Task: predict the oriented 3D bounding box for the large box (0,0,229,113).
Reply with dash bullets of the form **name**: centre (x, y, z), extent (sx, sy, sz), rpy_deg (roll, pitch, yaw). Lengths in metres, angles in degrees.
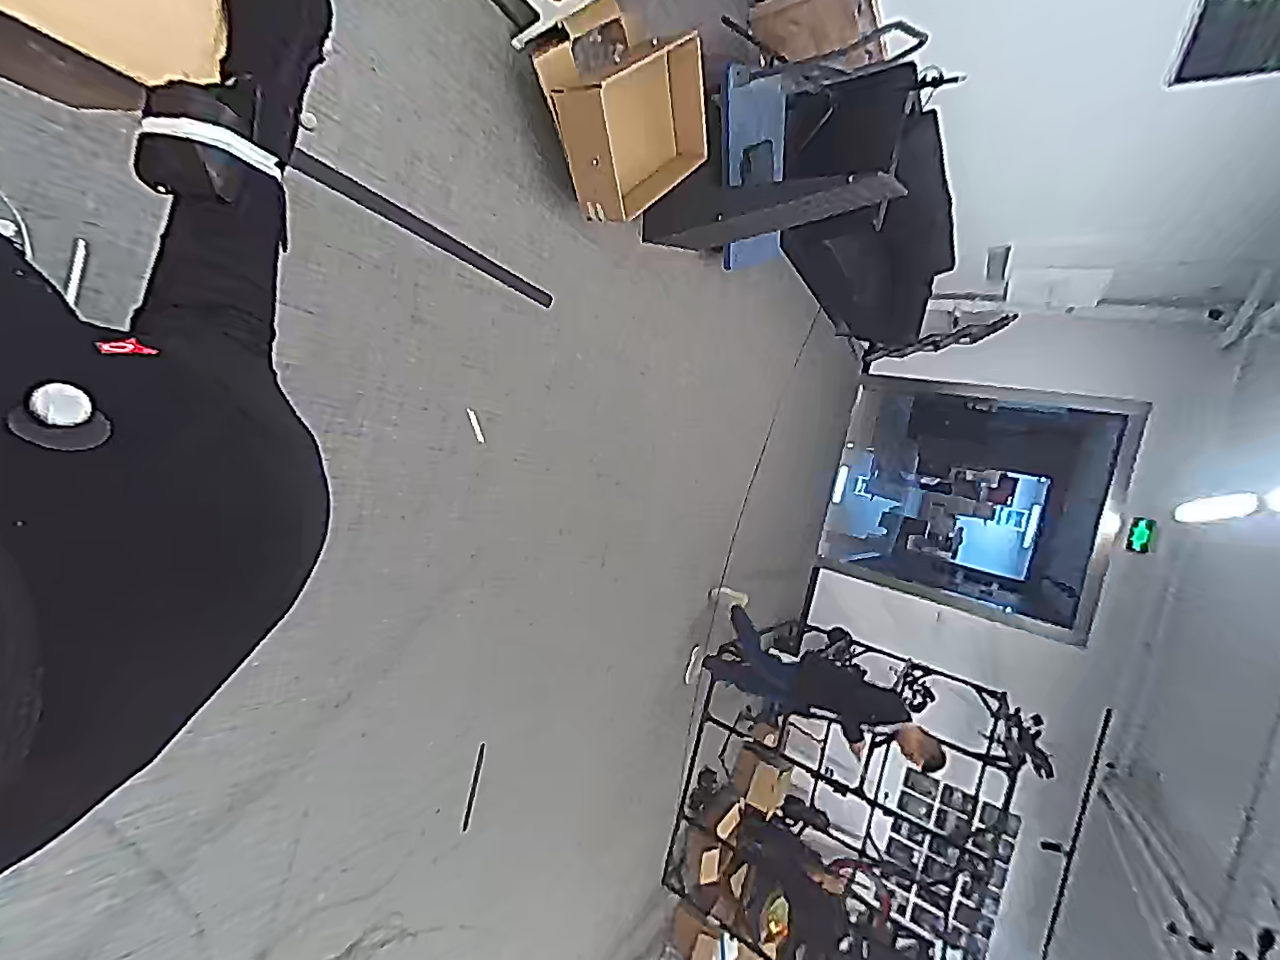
- **large box**: centre (-0.494, -0.462, 0.273), extent (0.408, 0.320, 0.320), rpy_deg (2, 109, -61)
